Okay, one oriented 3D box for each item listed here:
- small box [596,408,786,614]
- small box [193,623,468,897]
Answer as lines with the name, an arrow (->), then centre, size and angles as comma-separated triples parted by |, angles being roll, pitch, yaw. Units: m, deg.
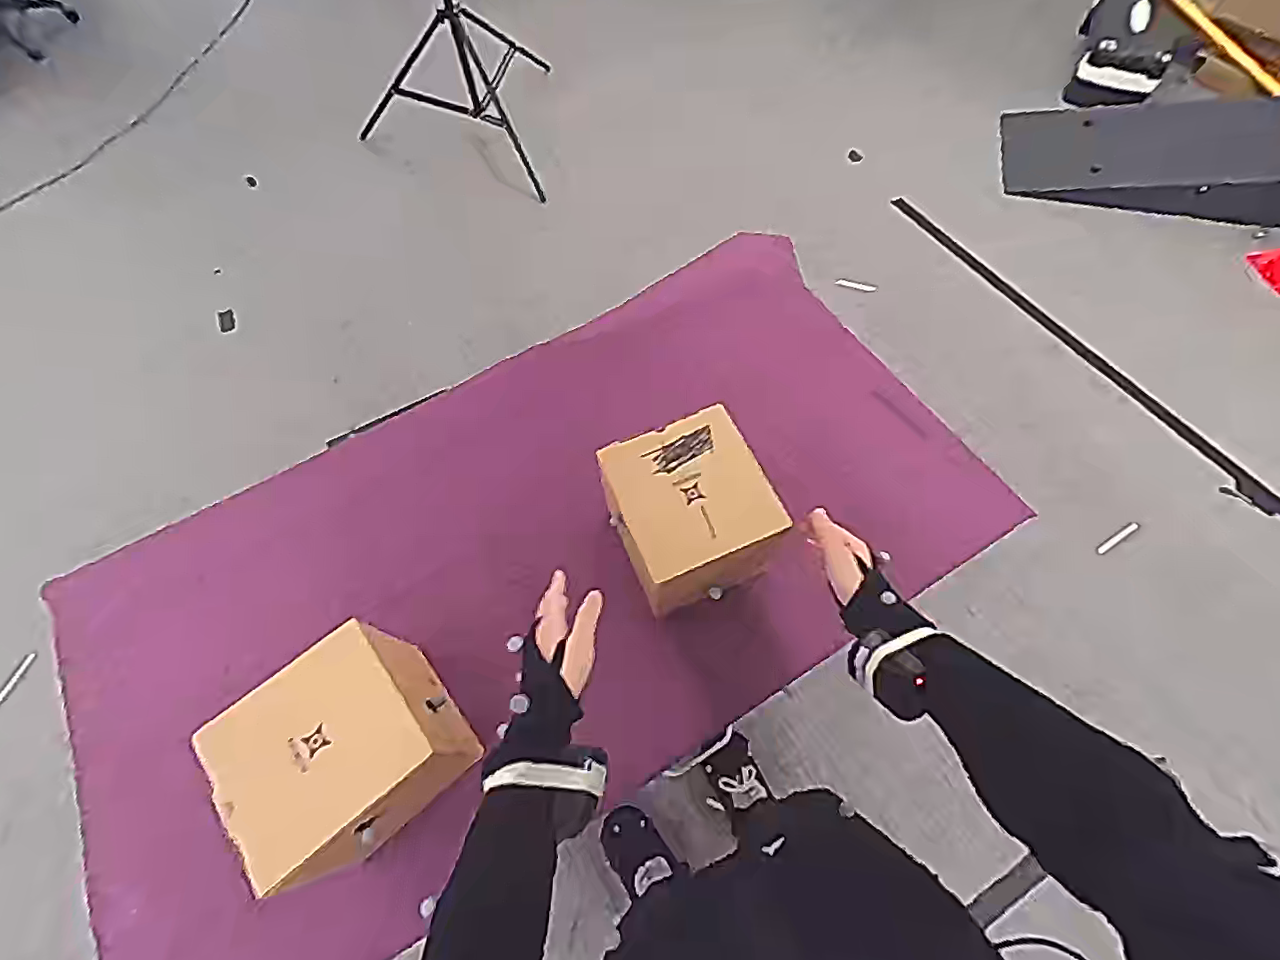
small box -> 0.054, 0.046, 0.680 | 0.168, 0.176, 0.179 | -22, 66, -8
small box -> -0.307, 0.285, 0.581 | 0.179, 0.176, 0.168 | -38, 69, -15
